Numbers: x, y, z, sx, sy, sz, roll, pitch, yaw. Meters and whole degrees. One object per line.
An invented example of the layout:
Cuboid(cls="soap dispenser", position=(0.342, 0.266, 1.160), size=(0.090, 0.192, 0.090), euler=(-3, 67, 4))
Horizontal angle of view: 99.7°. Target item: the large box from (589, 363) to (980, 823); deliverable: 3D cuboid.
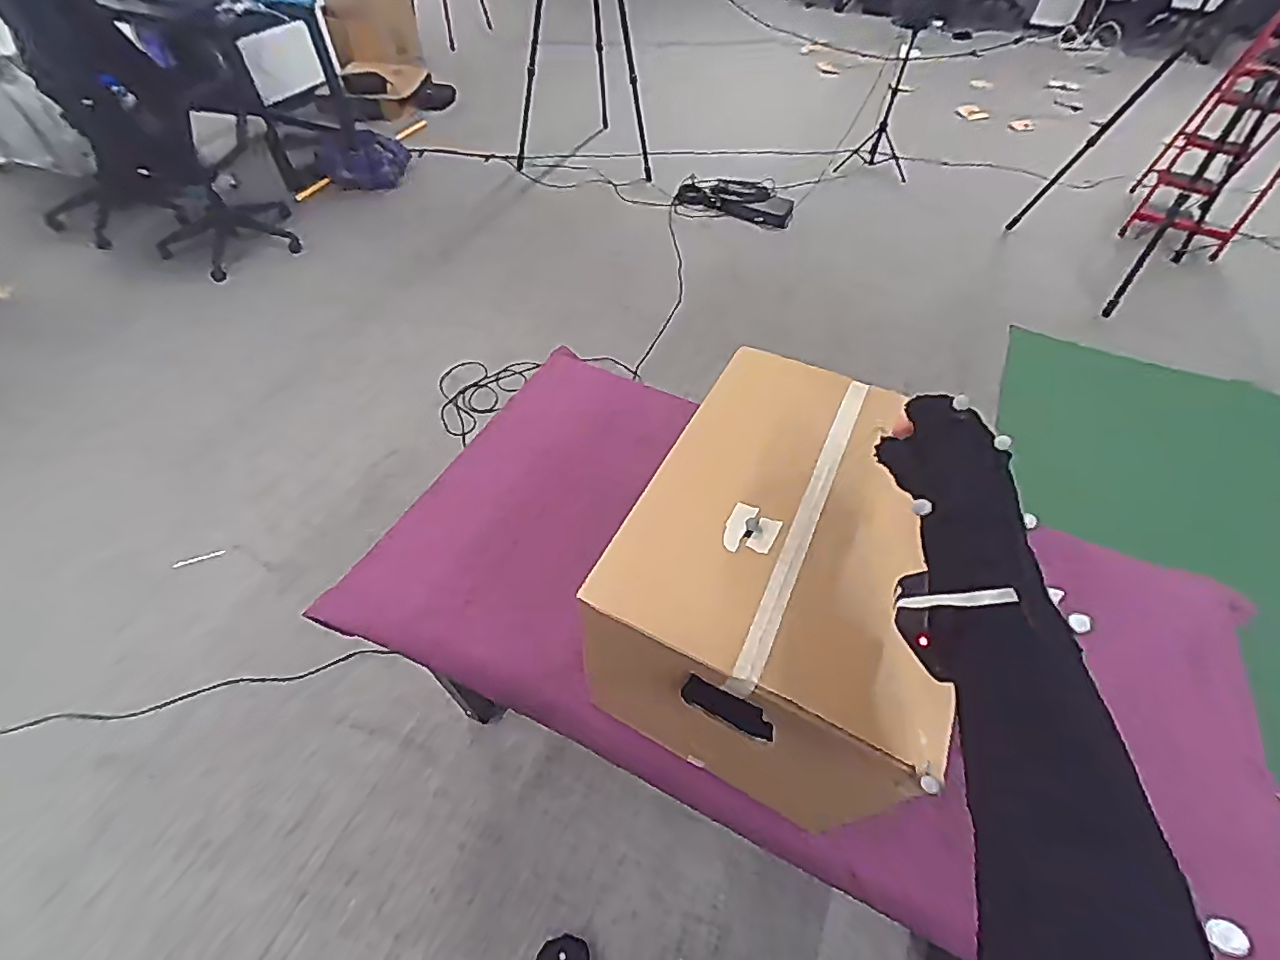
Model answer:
Cuboid(cls="large box", position=(0.168, 0.130, 0.678), size=(0.320, 0.320, 0.408), euler=(23, 55, 16))
